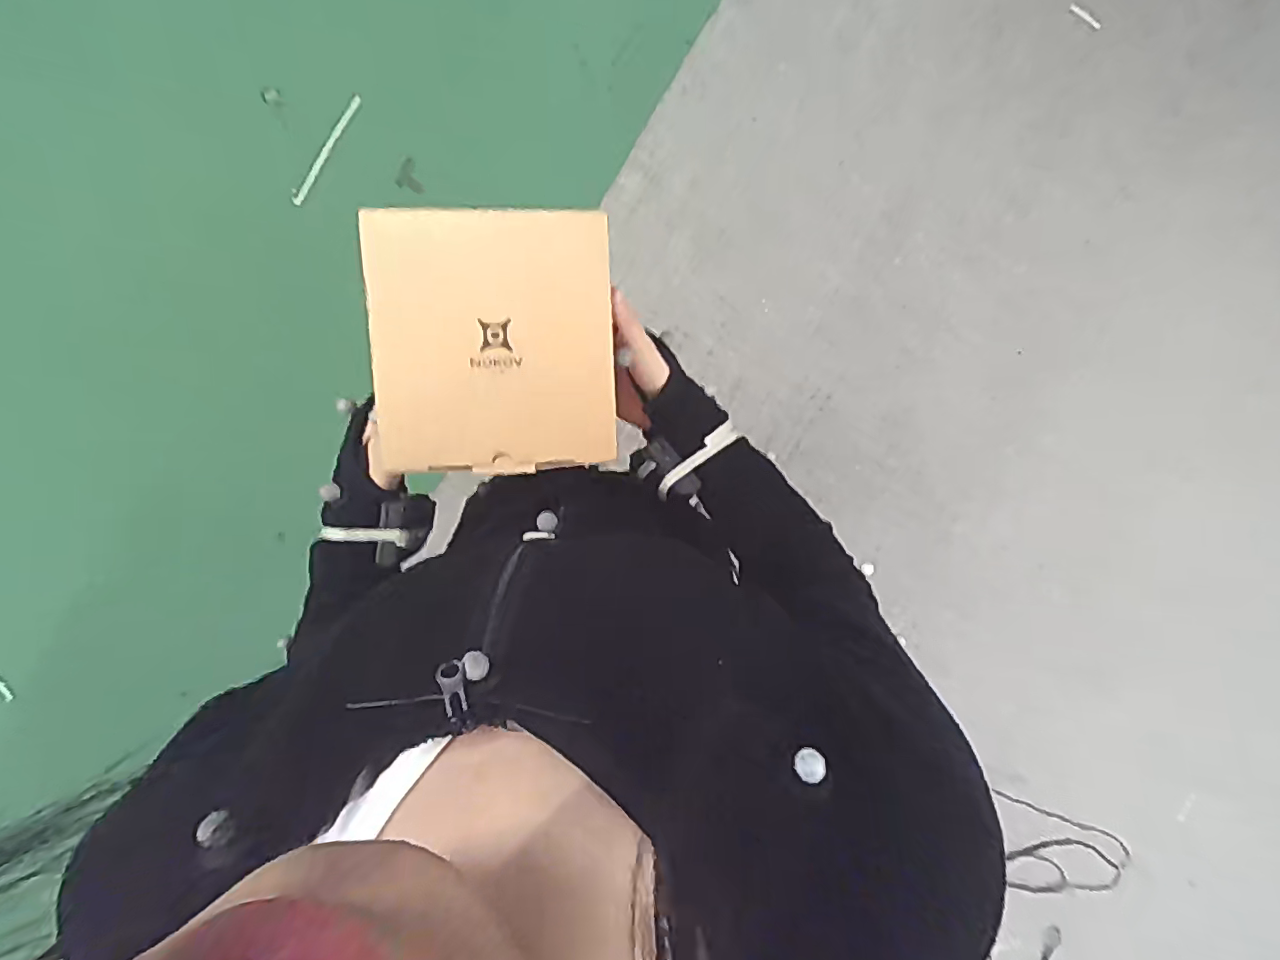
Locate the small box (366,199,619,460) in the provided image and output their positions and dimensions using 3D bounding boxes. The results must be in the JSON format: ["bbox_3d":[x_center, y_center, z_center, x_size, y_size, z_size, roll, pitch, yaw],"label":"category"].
[{"bbox_3d":[-0.110,-0.112,0.455,0.168,0.176,0.179,-3,98,-7],"label":"small box"}]
